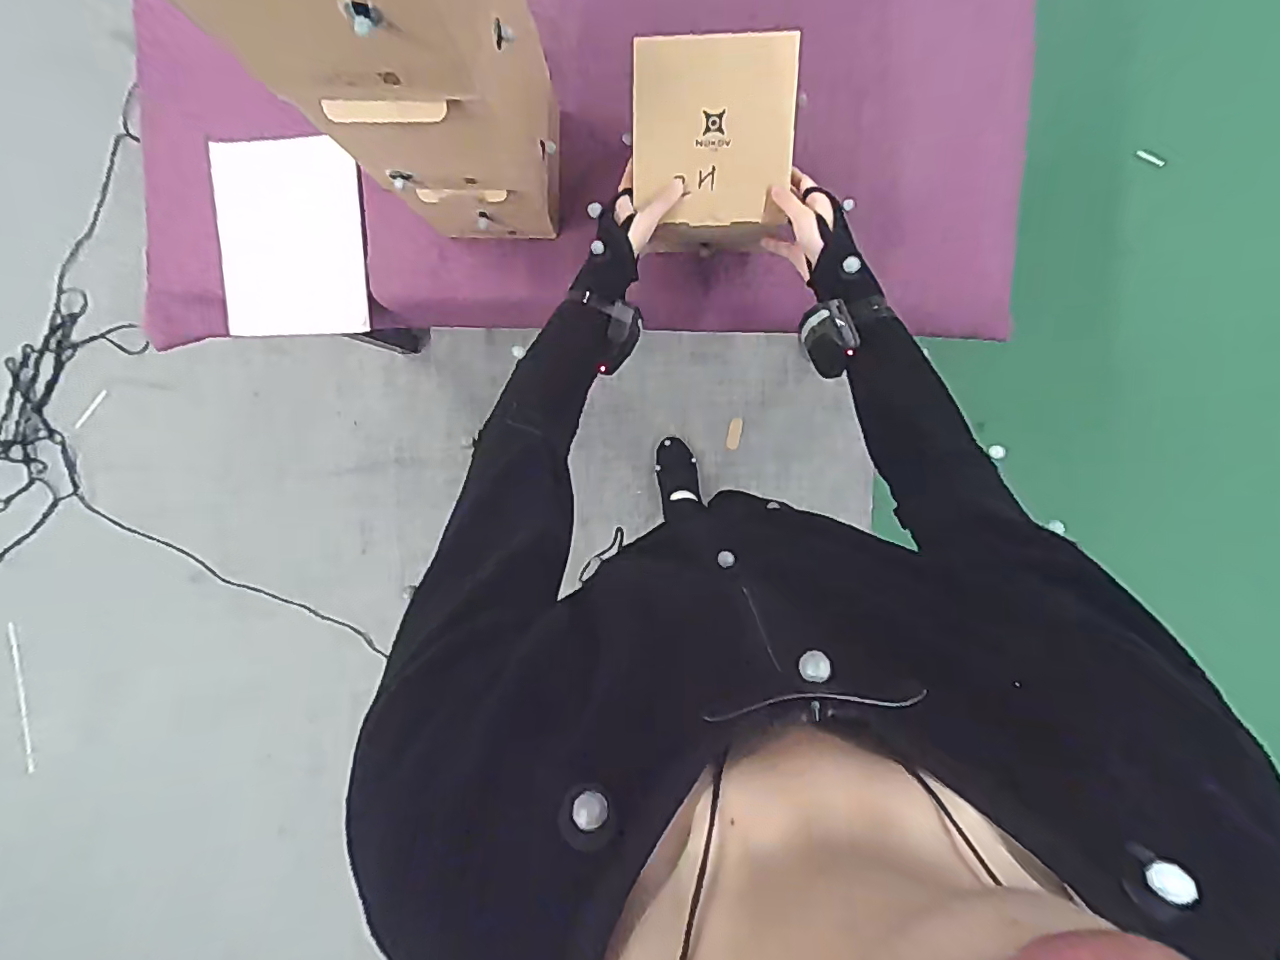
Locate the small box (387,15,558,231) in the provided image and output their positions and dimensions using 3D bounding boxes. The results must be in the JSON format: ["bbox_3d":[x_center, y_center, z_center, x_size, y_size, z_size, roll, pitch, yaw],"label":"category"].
[{"bbox_3d":[-0.196,-0.424,0.670,0.168,0.176,0.179,2,95,1],"label":"small box"}]

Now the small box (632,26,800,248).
[{"bbox_3d":[0.081,-0.382,0.633,0.168,0.176,0.179,2,104,5],"label":"small box"}]

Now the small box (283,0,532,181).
[{"bbox_3d":[-0.200,-0.405,0.506,0.168,0.176,0.179,2,94,2],"label":"small box"}]

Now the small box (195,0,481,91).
[{"bbox_3d":[-0.205,-0.387,0.344,0.168,0.176,0.179,2,94,1],"label":"small box"}]
